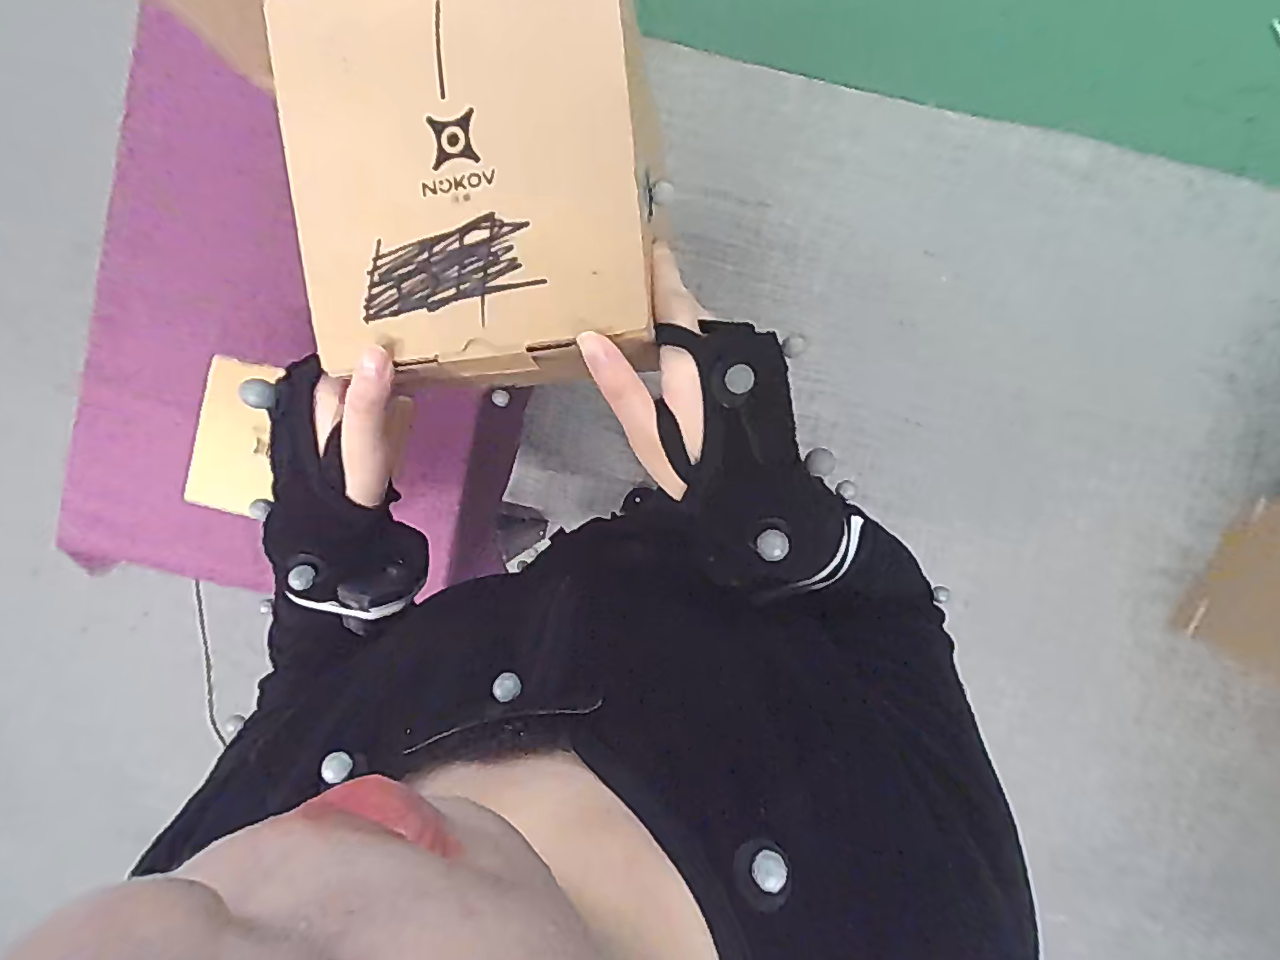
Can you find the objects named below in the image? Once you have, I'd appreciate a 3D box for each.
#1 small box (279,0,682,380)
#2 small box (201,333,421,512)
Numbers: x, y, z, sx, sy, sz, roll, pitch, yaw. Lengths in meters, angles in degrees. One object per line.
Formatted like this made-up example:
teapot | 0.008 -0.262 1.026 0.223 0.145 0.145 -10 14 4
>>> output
small box | -0.067 -0.154 0.322 0.168 0.176 0.179 -3 96 10
small box | -0.418 -0.070 0.716 0.168 0.176 0.179 17 93 4
